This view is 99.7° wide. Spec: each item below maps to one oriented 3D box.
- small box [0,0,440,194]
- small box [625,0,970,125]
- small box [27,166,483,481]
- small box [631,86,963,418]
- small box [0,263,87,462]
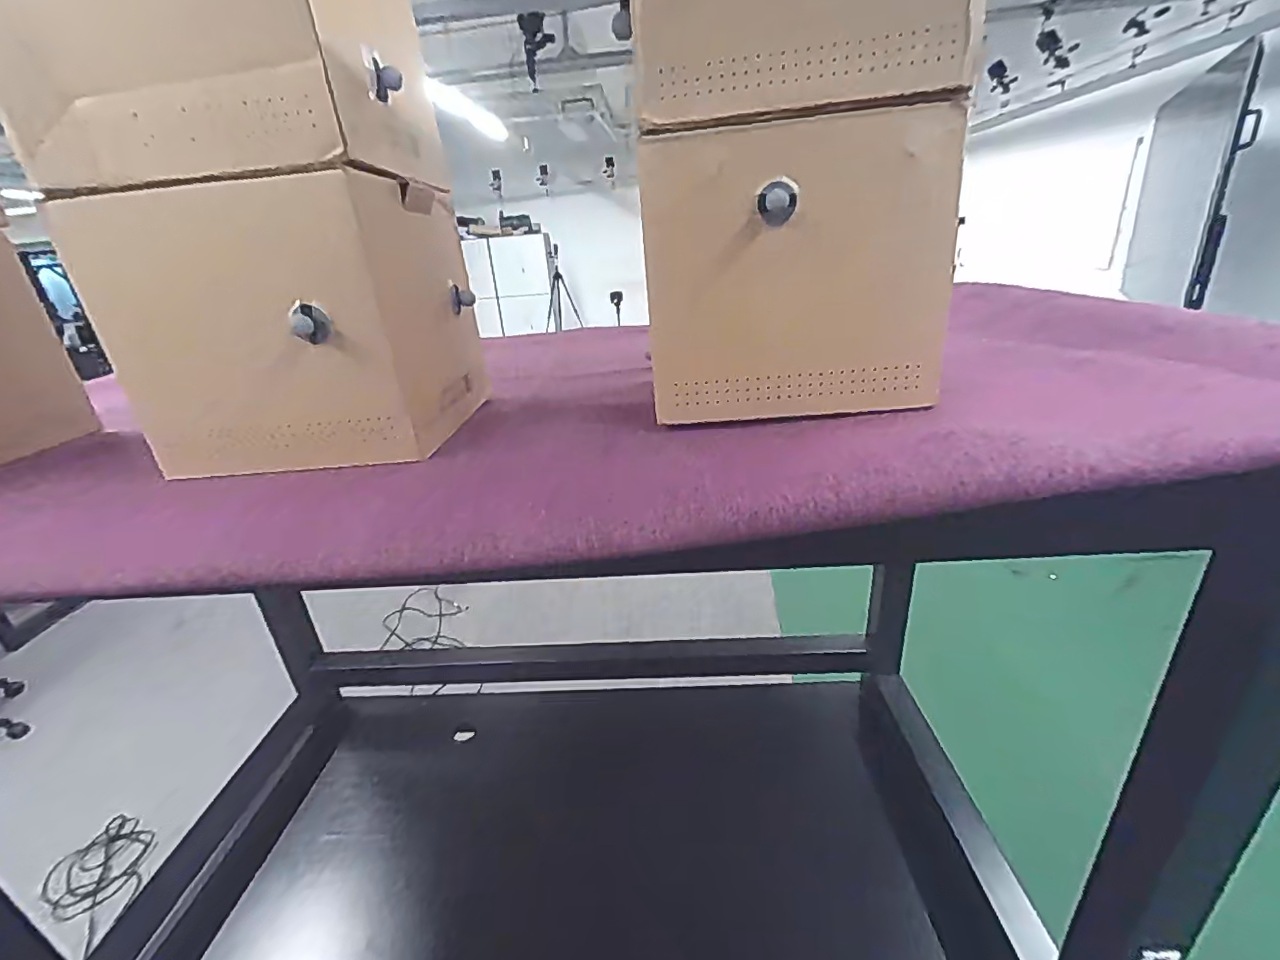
[{"bbox_3d":[-0.245,-0.260,0.321,0.179,0.176,0.168,-5,24,1],"label":"small box"},{"bbox_3d":[0.082,-0.298,0.324,0.179,0.176,0.168,-4,22,7],"label":"small box"},{"bbox_3d":[-0.228,-0.110,0.384,0.179,0.176,0.168,-5,23,3],"label":"small box"},{"bbox_3d":[0.094,-0.145,0.384,0.179,0.176,0.168,-3,22,6],"label":"small box"},{"bbox_3d":[-0.569,-0.079,0.377,0.168,0.176,0.179,-3,25,2],"label":"small box"}]
